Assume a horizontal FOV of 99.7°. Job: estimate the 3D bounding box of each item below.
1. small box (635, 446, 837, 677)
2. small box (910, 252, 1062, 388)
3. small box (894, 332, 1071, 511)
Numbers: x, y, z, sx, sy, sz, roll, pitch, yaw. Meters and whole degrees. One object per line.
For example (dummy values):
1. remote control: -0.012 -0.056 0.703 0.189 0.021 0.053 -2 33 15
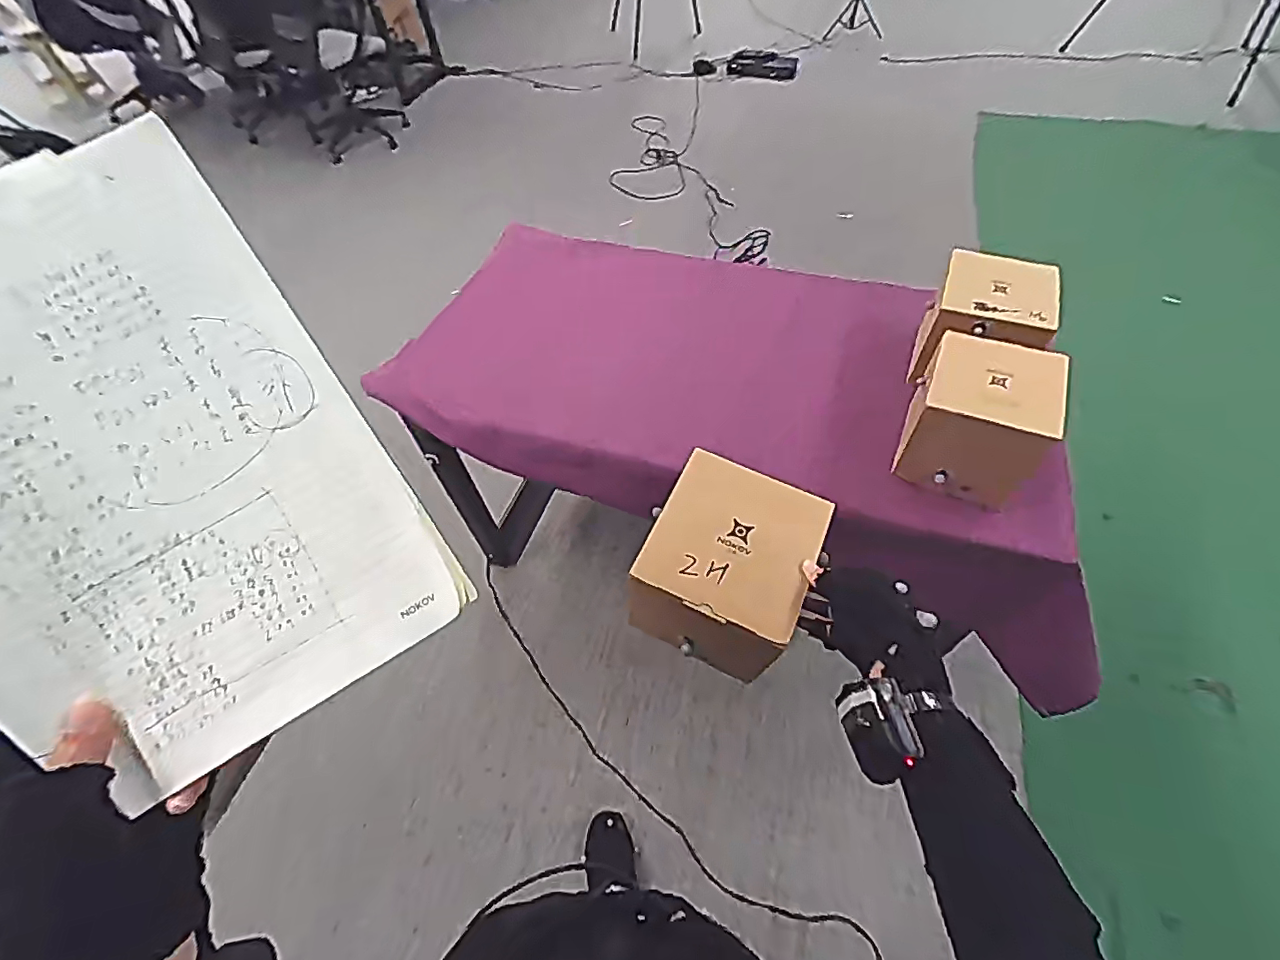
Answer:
1. small box: 0.099 0.099 0.622 0.168 0.176 0.179 24 61 12
2. small box: 0.586 -0.257 0.928 0.168 0.176 0.179 18 57 17
3. small box: 0.502 -0.086 0.810 0.168 0.176 0.179 20 58 19
